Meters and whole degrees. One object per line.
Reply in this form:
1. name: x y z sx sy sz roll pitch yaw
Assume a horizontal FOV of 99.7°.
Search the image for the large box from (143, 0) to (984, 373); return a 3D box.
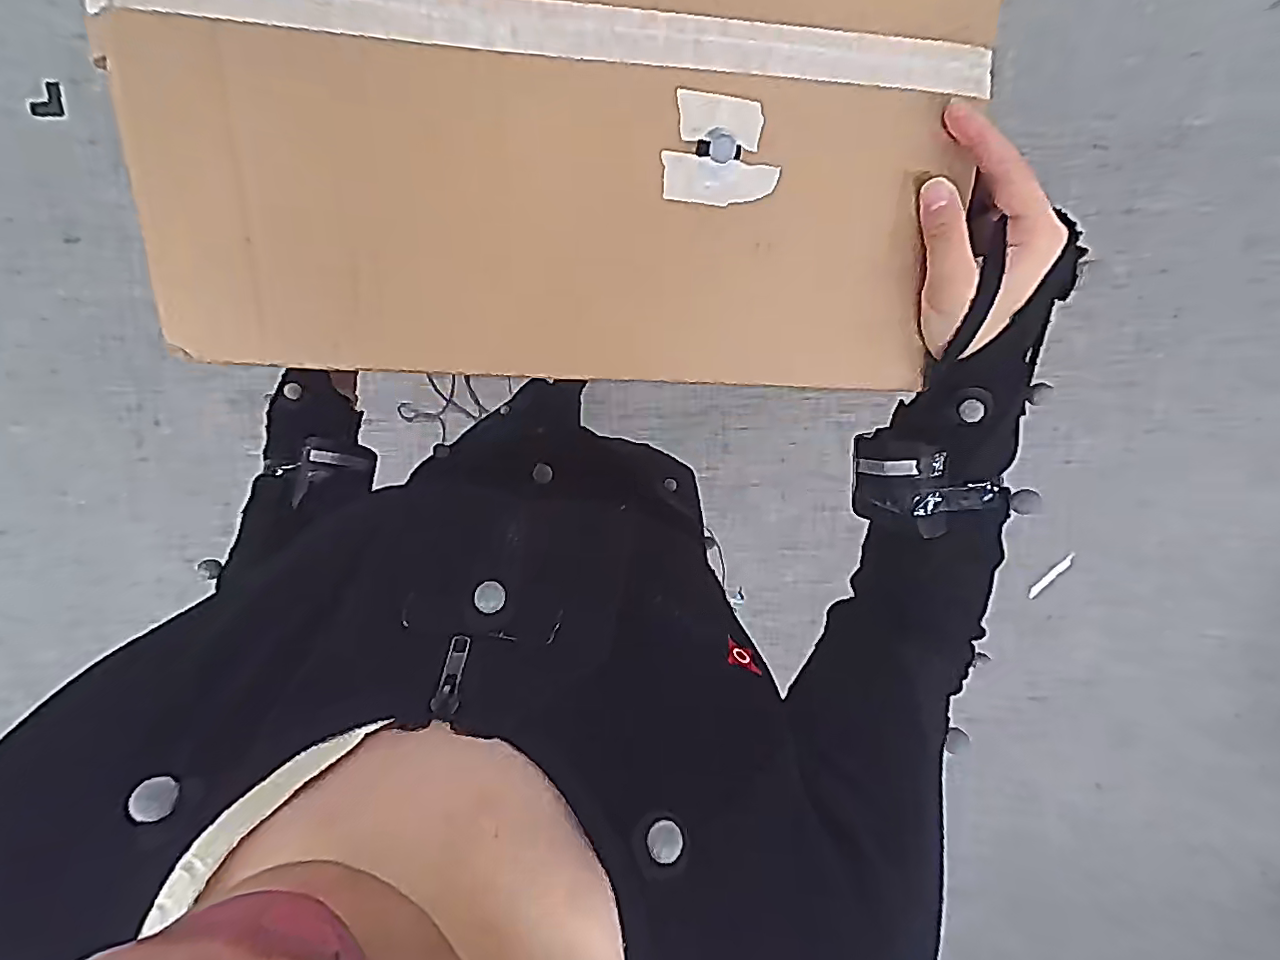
1. large box: -0.043 -0.252 0.404 0.408 0.320 0.320 1 107 -7
